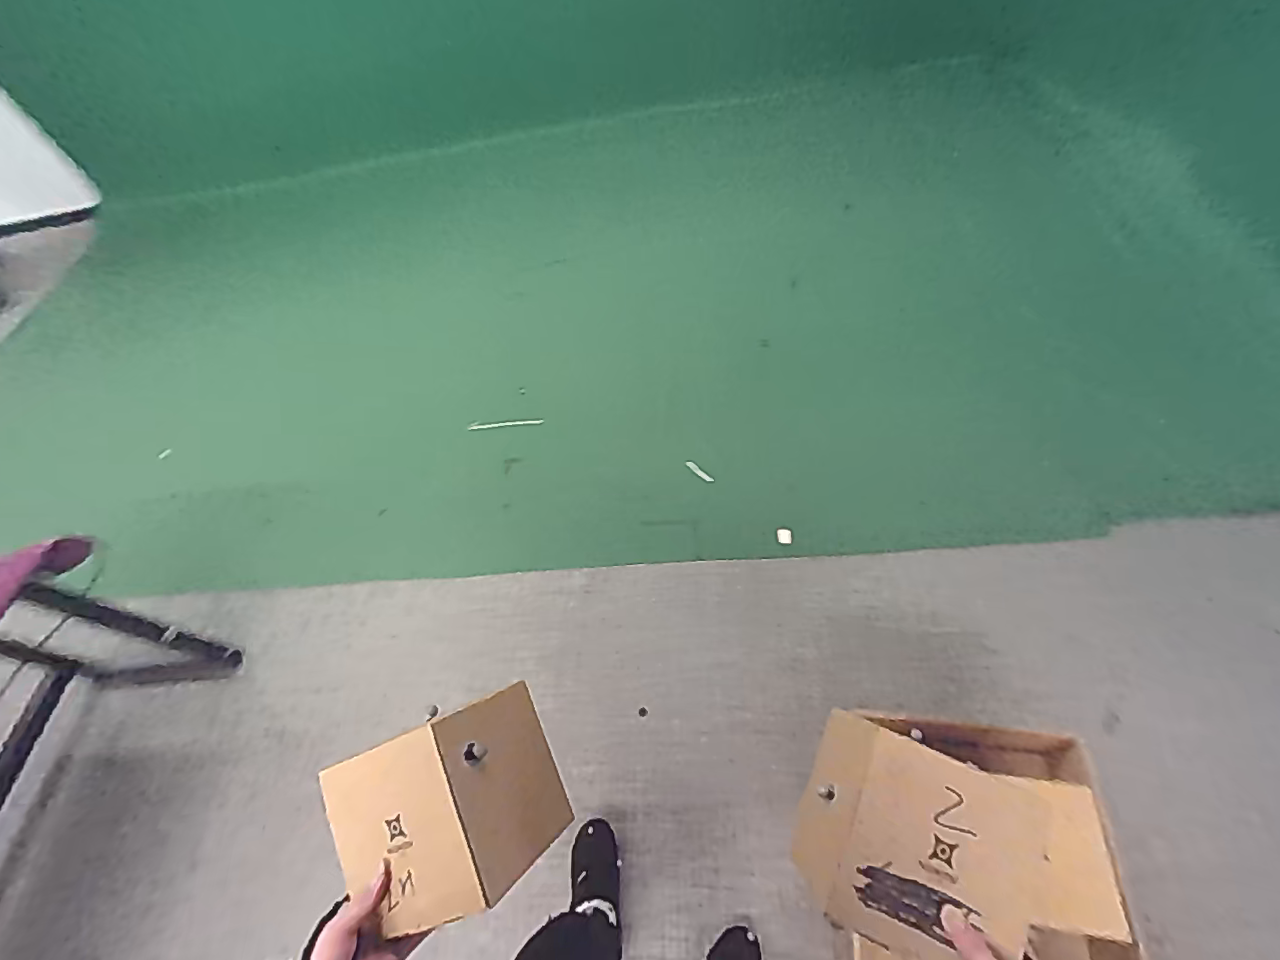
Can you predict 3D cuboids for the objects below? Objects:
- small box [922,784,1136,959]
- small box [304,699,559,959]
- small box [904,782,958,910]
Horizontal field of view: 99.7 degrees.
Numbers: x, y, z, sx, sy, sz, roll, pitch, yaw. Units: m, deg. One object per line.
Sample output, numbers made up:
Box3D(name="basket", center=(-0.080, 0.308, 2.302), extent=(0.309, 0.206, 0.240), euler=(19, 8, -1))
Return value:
Box3D(name="small box", center=(0.520, 0.534, 0.755), extent=(0.179, 0.176, 0.168), euler=(2, 58, 12))
Box3D(name="small box", center=(-0.218, 0.360, 0.593), extent=(0.168, 0.176, 0.179), euler=(-28, 76, 16))
Box3D(name="small box", center=(0.550, 0.617, 0.893), extent=(0.168, 0.176, 0.179), euler=(3, 58, 12))
